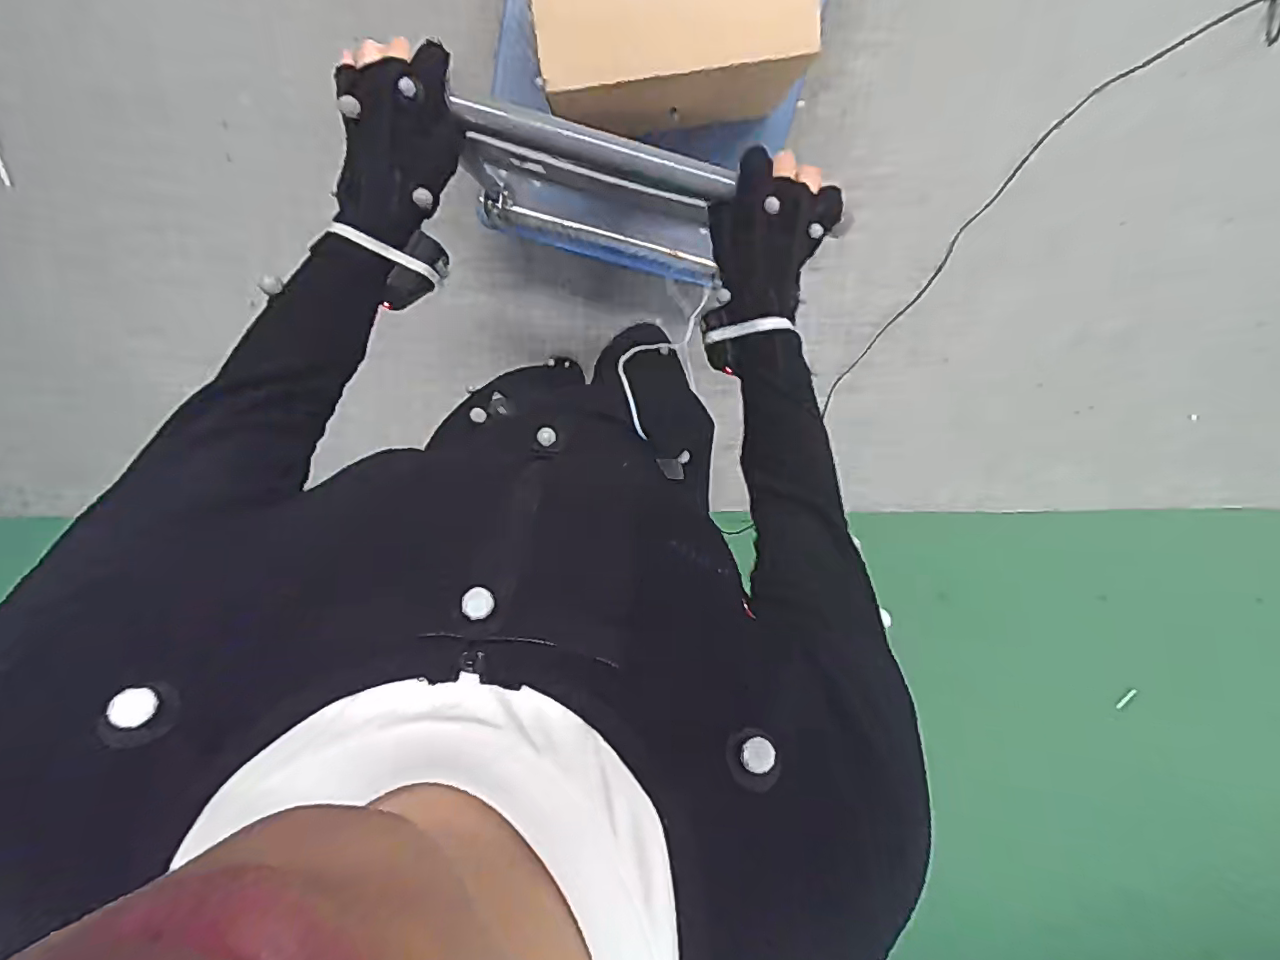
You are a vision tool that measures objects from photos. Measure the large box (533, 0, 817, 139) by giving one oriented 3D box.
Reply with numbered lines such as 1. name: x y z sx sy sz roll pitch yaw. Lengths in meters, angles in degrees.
1. large box: 0.041 -0.794 0.880 0.408 0.320 0.320 -7 109 3
